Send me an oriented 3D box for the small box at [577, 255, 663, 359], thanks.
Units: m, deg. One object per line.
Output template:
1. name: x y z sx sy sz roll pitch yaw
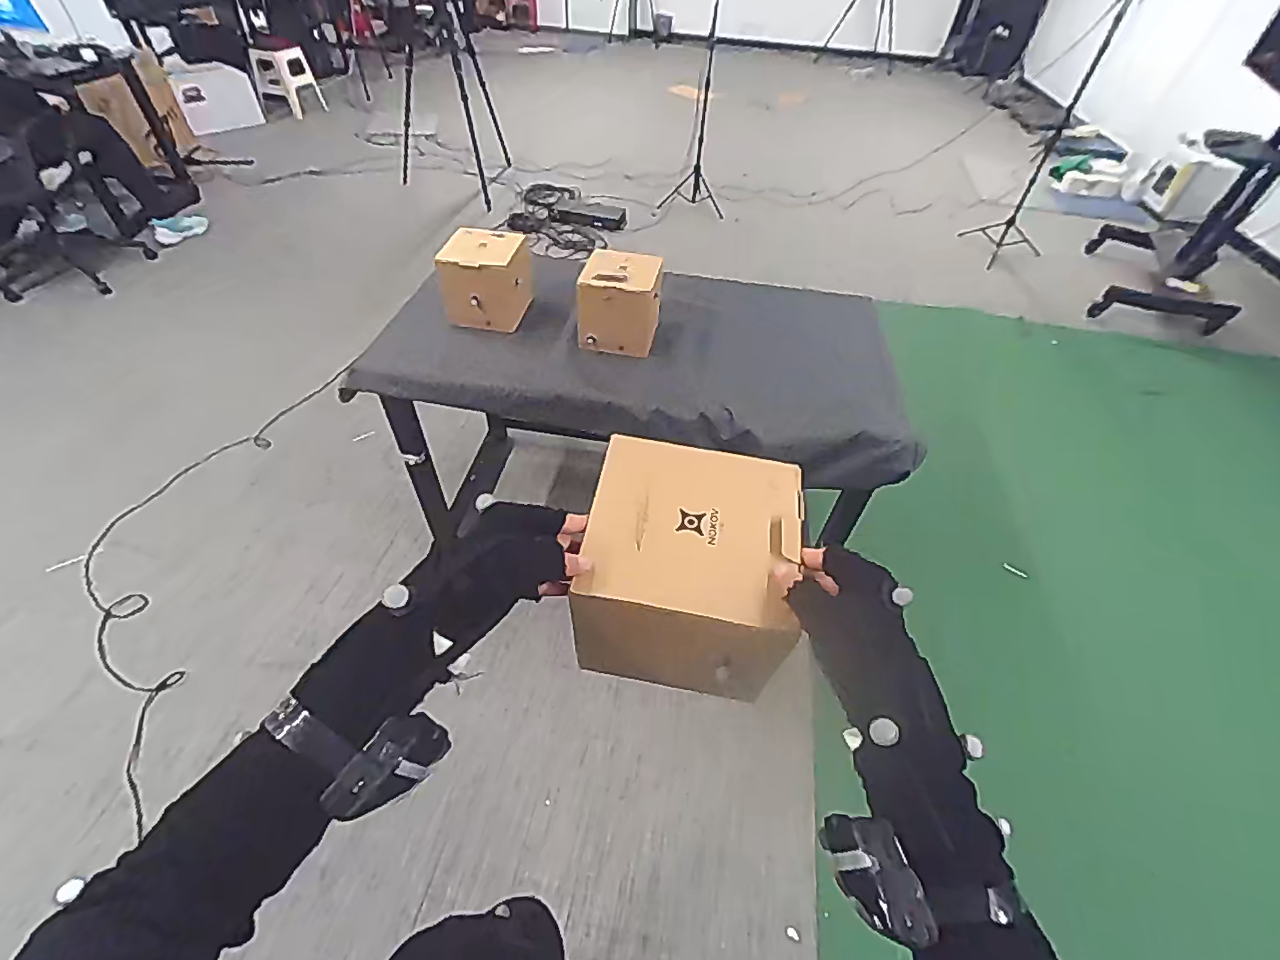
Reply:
1. small box: -0.043 -0.407 1.277 0.168 0.176 0.179 10 46 6

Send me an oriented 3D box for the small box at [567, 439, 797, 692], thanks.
1. small box: 0.041 0.086 0.514 0.179 0.176 0.168 8 50 5

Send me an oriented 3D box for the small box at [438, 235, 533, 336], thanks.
1. small box: -0.365 -0.472 1.319 0.168 0.176 0.179 7 48 3
